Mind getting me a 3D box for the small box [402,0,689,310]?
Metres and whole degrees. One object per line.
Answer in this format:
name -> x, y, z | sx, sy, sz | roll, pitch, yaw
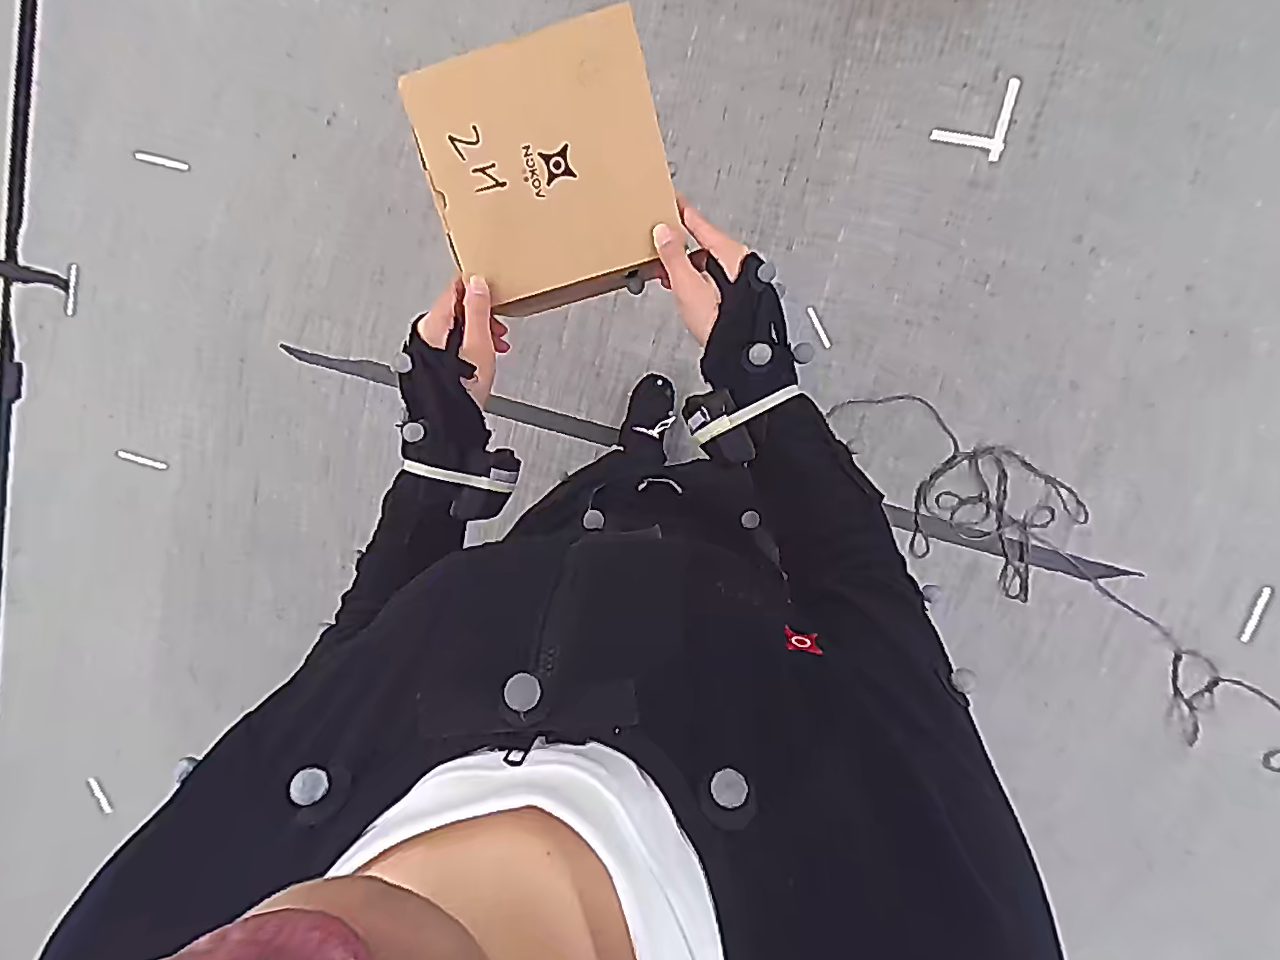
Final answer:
small box -> -0.066, -0.253, 0.471 | 0.179, 0.176, 0.168 | -14, 104, 4
